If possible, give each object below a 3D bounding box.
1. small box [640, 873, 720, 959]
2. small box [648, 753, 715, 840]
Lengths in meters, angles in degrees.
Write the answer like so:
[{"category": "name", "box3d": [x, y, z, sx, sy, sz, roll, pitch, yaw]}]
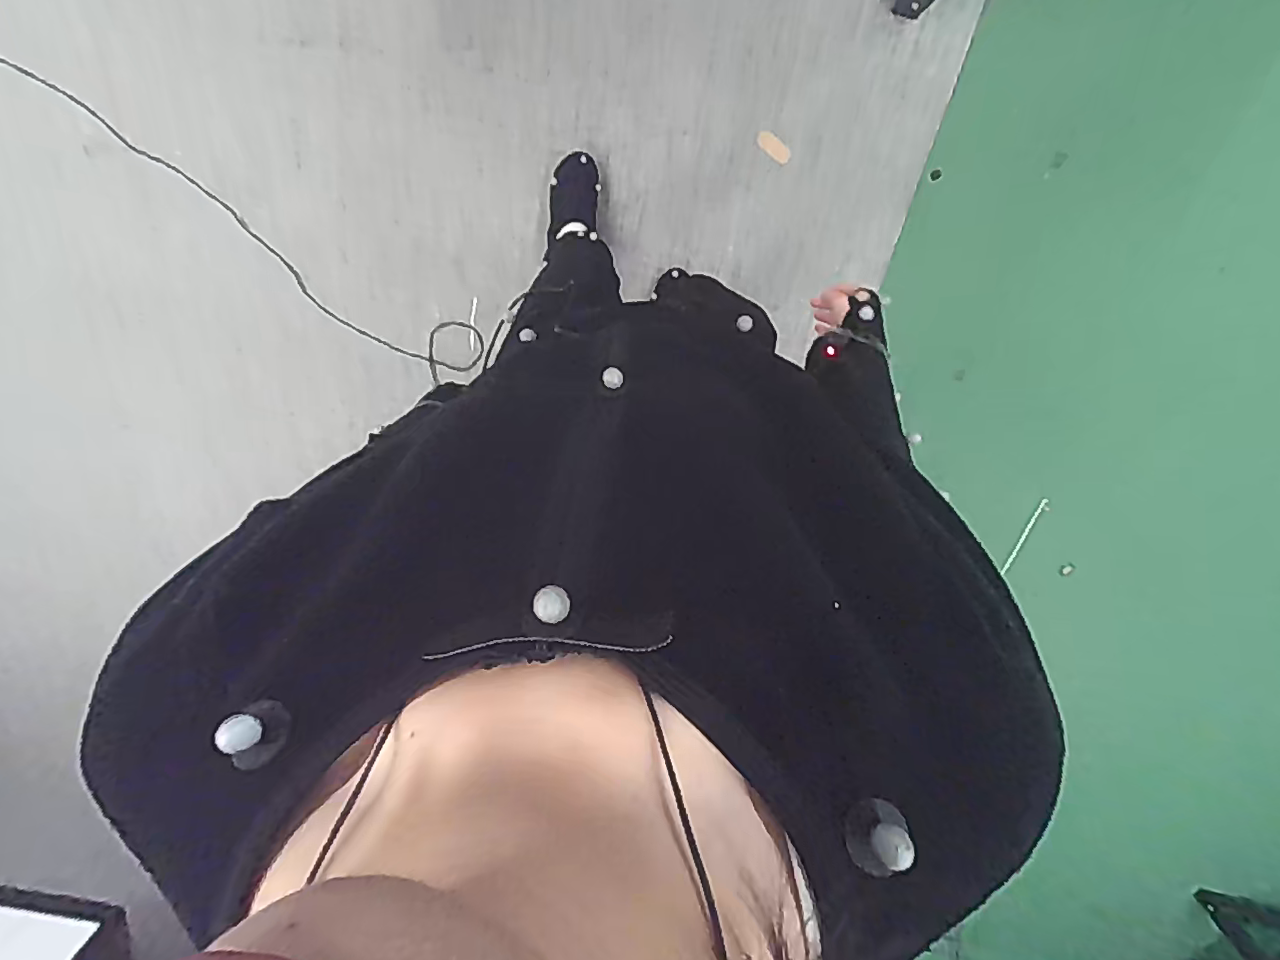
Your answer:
[{"category": "small box", "box3d": [0.086, 1.026, 1.217, 0.168, 0.176, 0.179, 3, 111, 3]}, {"category": "small box", "box3d": [0.113, 0.894, 1.515, 0.179, 0.176, 0.168, 2, 112, 3]}]
